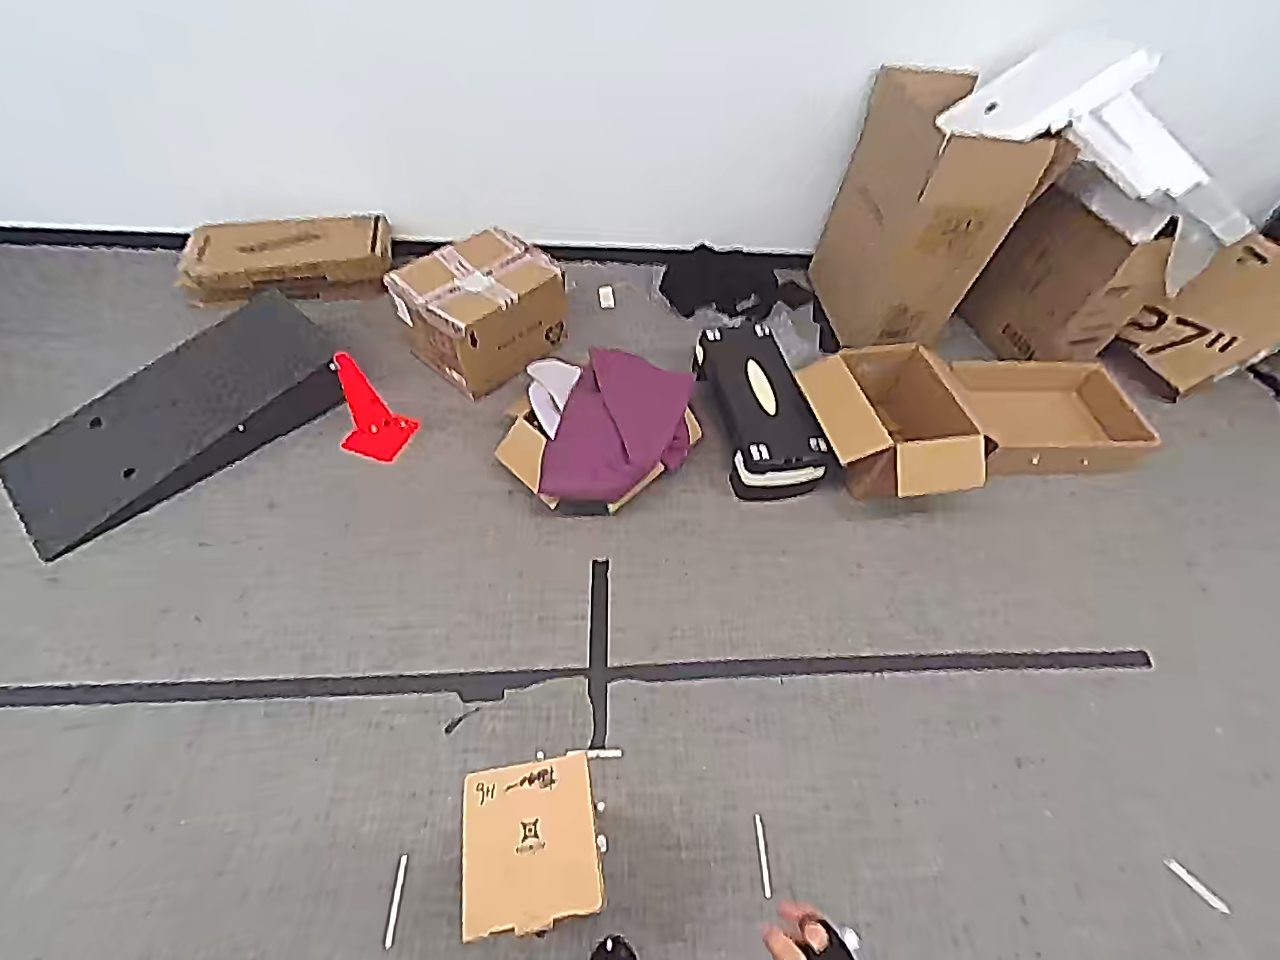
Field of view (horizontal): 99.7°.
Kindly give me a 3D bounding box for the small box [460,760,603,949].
[{"bbox_3d":[-0.141,0.501,0.738,0.168,0.176,0.179,-6,55,-8],"label":"small box"}]
